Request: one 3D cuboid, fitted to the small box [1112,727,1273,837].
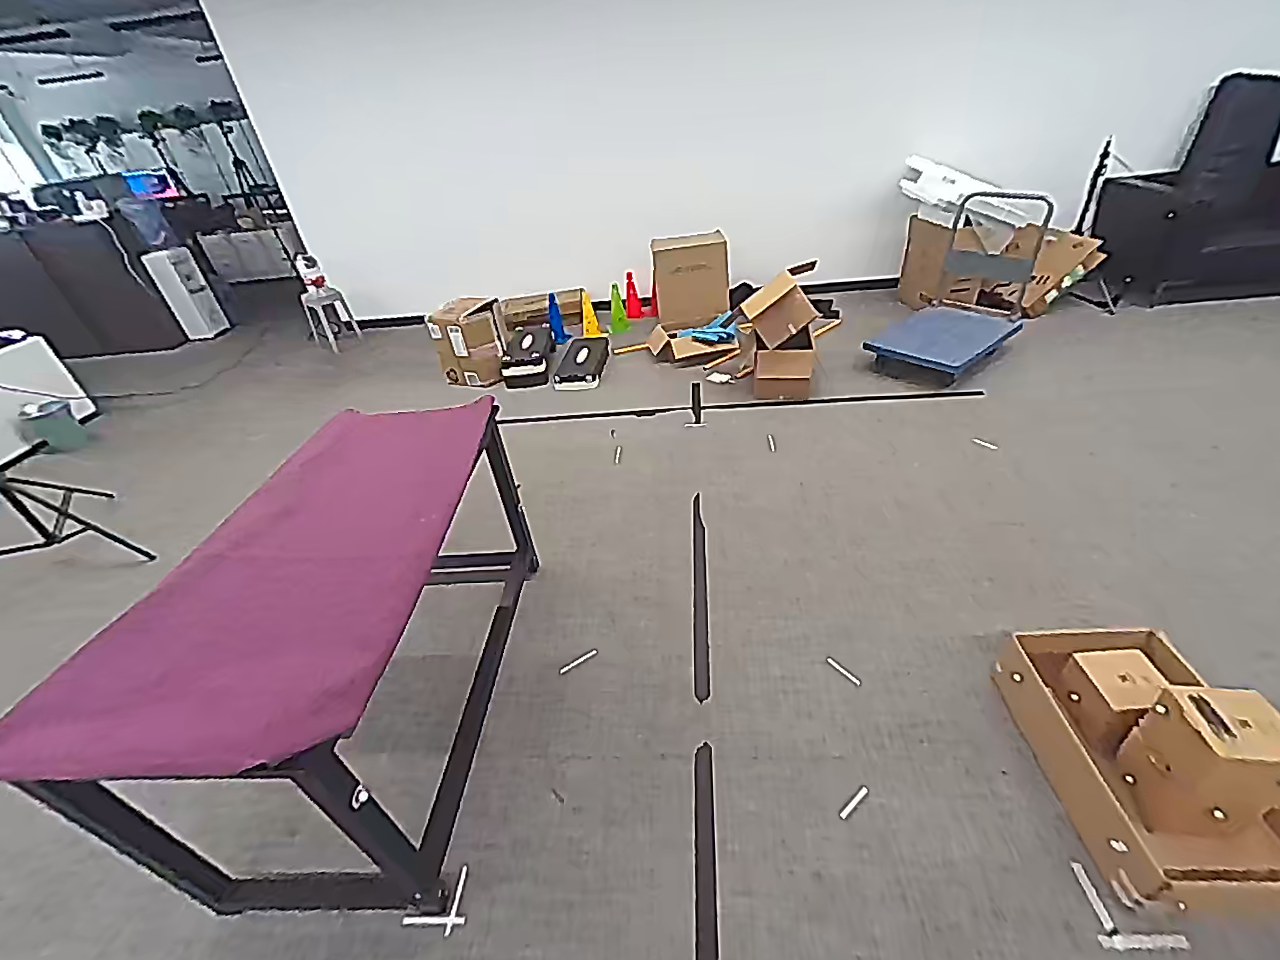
[{"bbox_3d":[1.264,0.702,1.256,0.179,0.176,0.168,-1,34,9],"label":"small box"}]

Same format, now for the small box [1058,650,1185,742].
[{"bbox_3d":[1.252,0.573,1.429,0.179,0.176,0.168,-4,37,4],"label":"small box"}]
